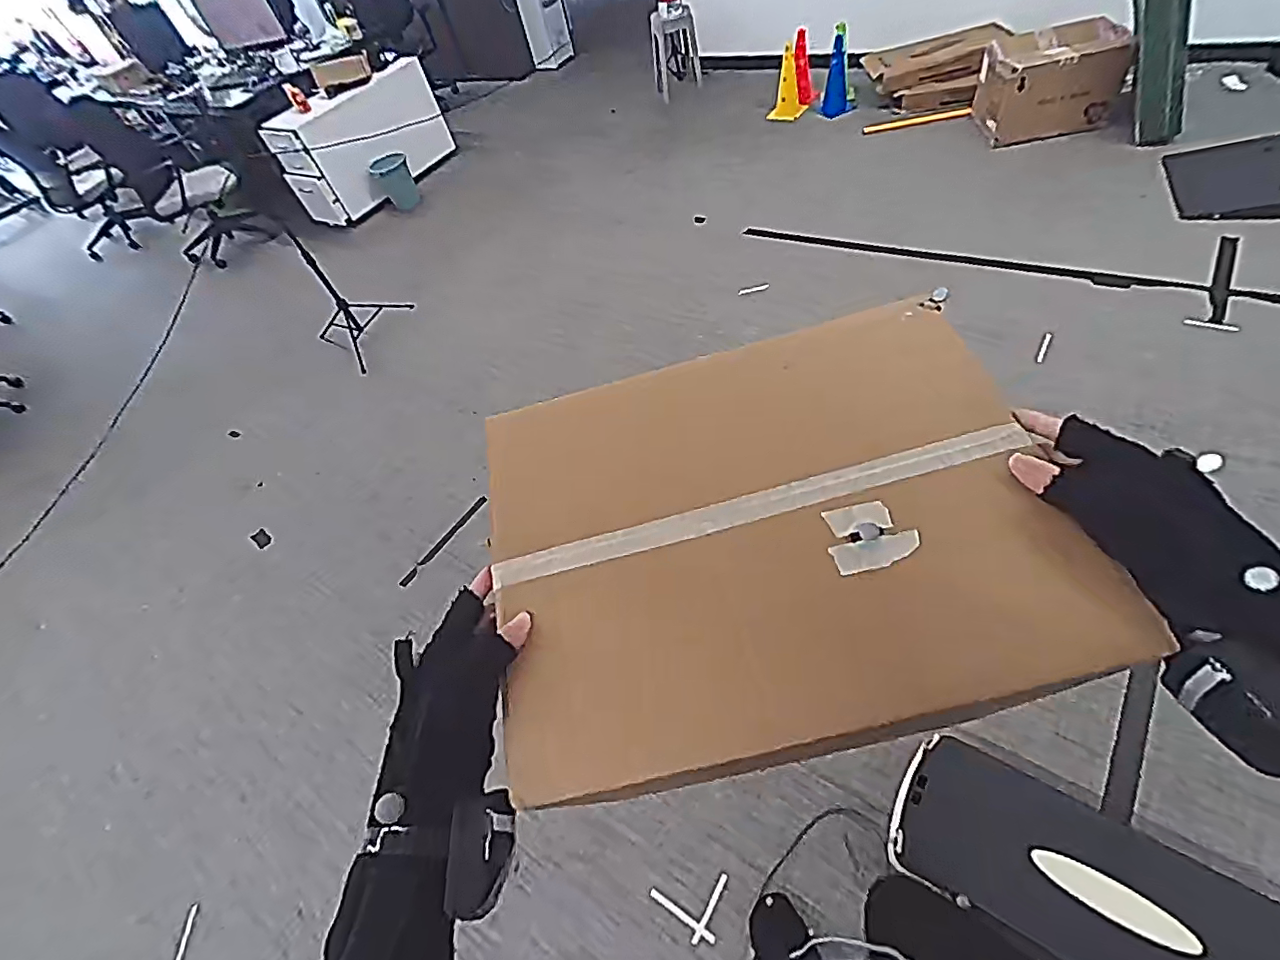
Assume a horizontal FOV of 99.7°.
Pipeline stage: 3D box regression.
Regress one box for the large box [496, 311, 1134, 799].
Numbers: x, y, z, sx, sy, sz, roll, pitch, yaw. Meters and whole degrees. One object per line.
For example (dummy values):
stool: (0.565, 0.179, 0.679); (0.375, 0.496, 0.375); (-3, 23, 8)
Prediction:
large box: (0.111, 0.099, 0.544); (0.408, 0.320, 0.320); (-15, 59, 3)
